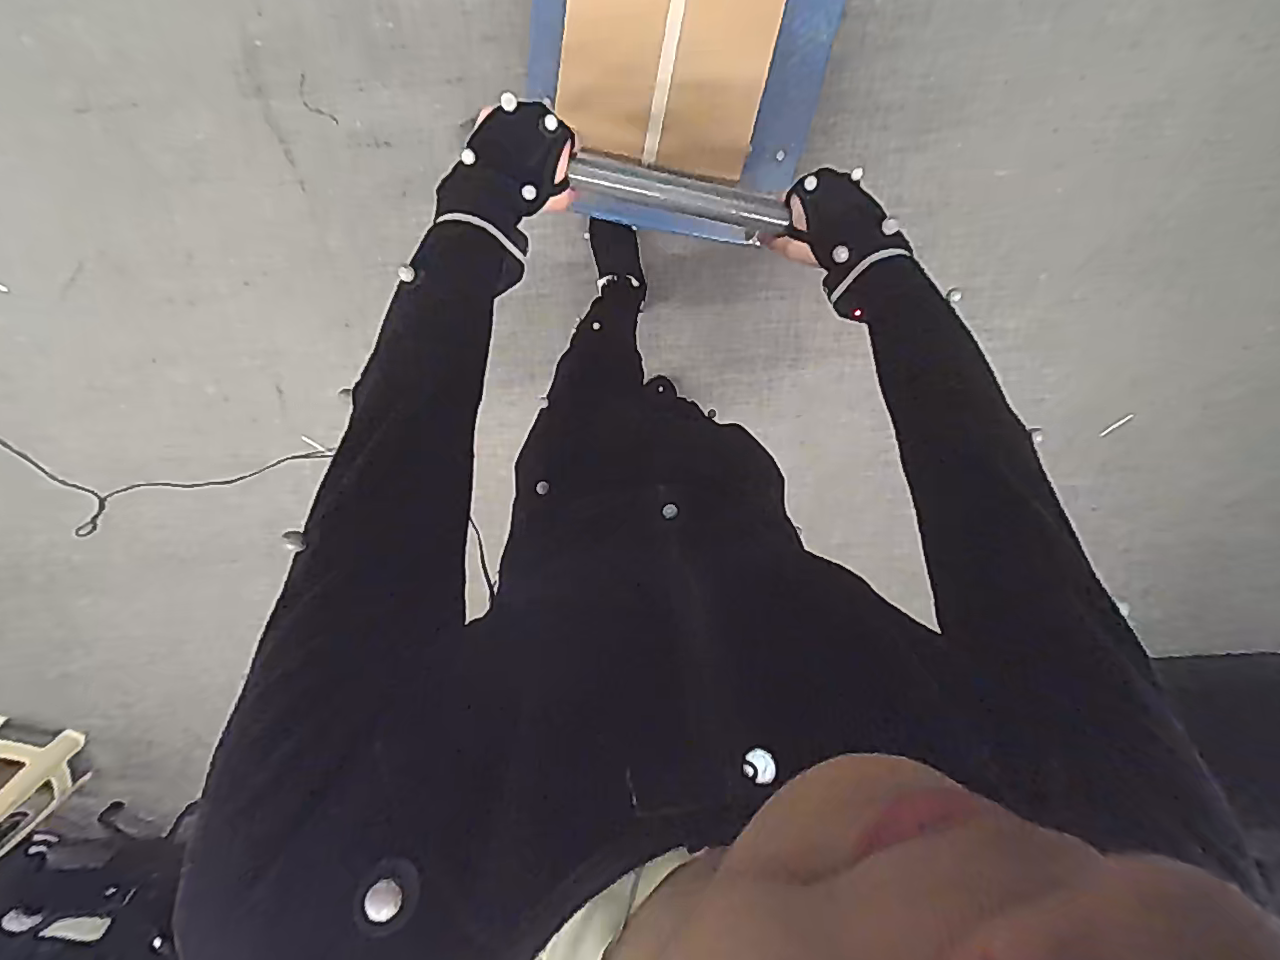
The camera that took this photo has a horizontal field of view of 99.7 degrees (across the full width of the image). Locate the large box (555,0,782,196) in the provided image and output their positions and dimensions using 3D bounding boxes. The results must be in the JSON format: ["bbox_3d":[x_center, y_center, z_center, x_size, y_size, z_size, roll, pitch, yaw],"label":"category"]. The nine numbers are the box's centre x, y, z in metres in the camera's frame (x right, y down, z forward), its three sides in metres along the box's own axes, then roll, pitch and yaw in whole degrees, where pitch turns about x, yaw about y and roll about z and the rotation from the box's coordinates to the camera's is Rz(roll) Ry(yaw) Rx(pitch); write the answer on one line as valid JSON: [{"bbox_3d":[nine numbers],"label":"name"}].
[{"bbox_3d":[0.047,-0.745,0.936,0.320,0.320,0.408,10,116,-6],"label":"large box"}]
